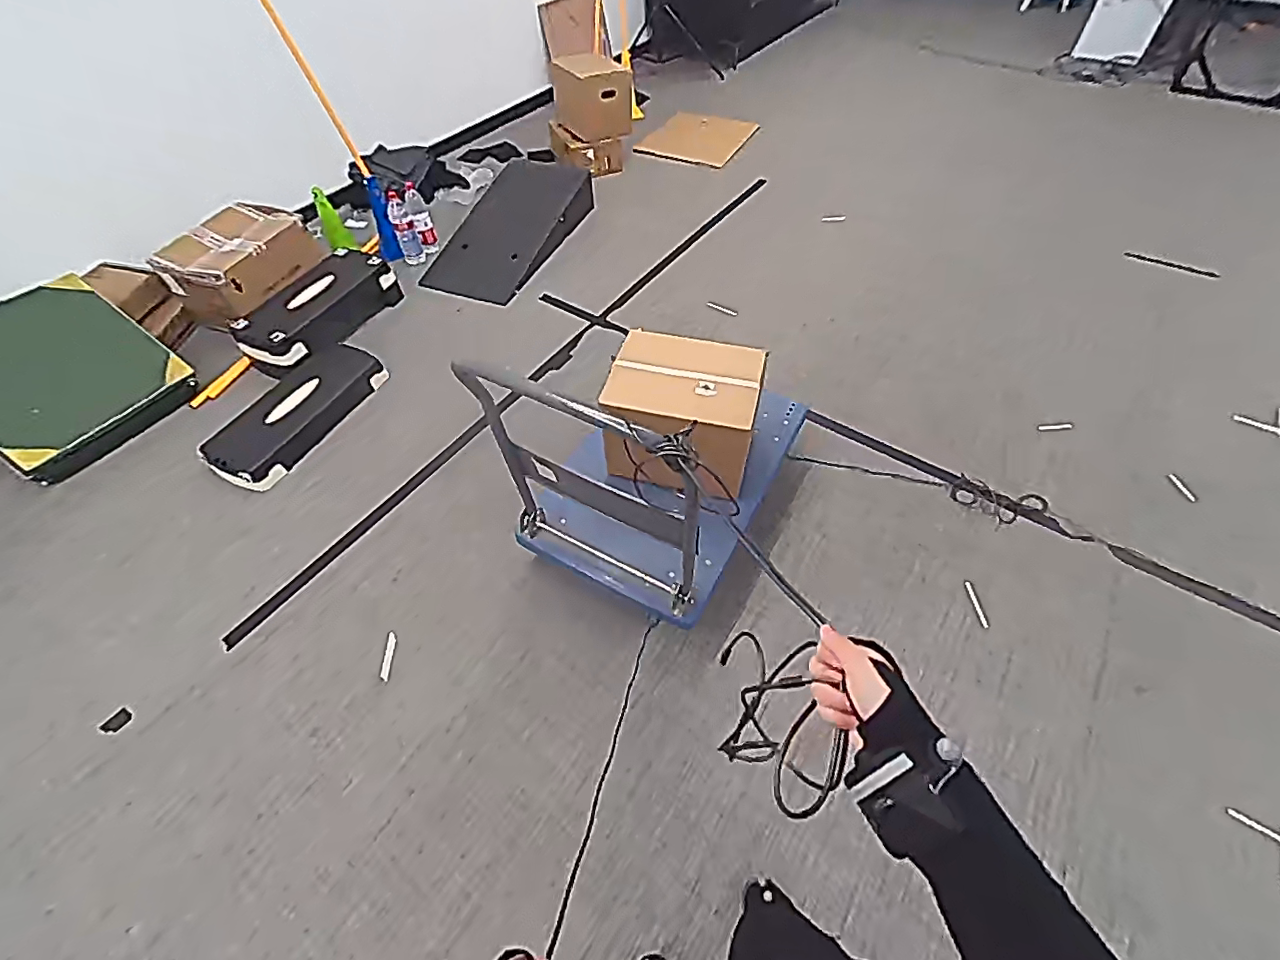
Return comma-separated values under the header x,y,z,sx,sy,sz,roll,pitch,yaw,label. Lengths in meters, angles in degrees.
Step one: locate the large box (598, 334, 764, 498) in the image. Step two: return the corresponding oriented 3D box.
x,y,z,sx,sy,sz,roll,pitch,yaw,label
0.119,-0.184,1.576,0.408,0.320,0.320,12,55,10,large box
